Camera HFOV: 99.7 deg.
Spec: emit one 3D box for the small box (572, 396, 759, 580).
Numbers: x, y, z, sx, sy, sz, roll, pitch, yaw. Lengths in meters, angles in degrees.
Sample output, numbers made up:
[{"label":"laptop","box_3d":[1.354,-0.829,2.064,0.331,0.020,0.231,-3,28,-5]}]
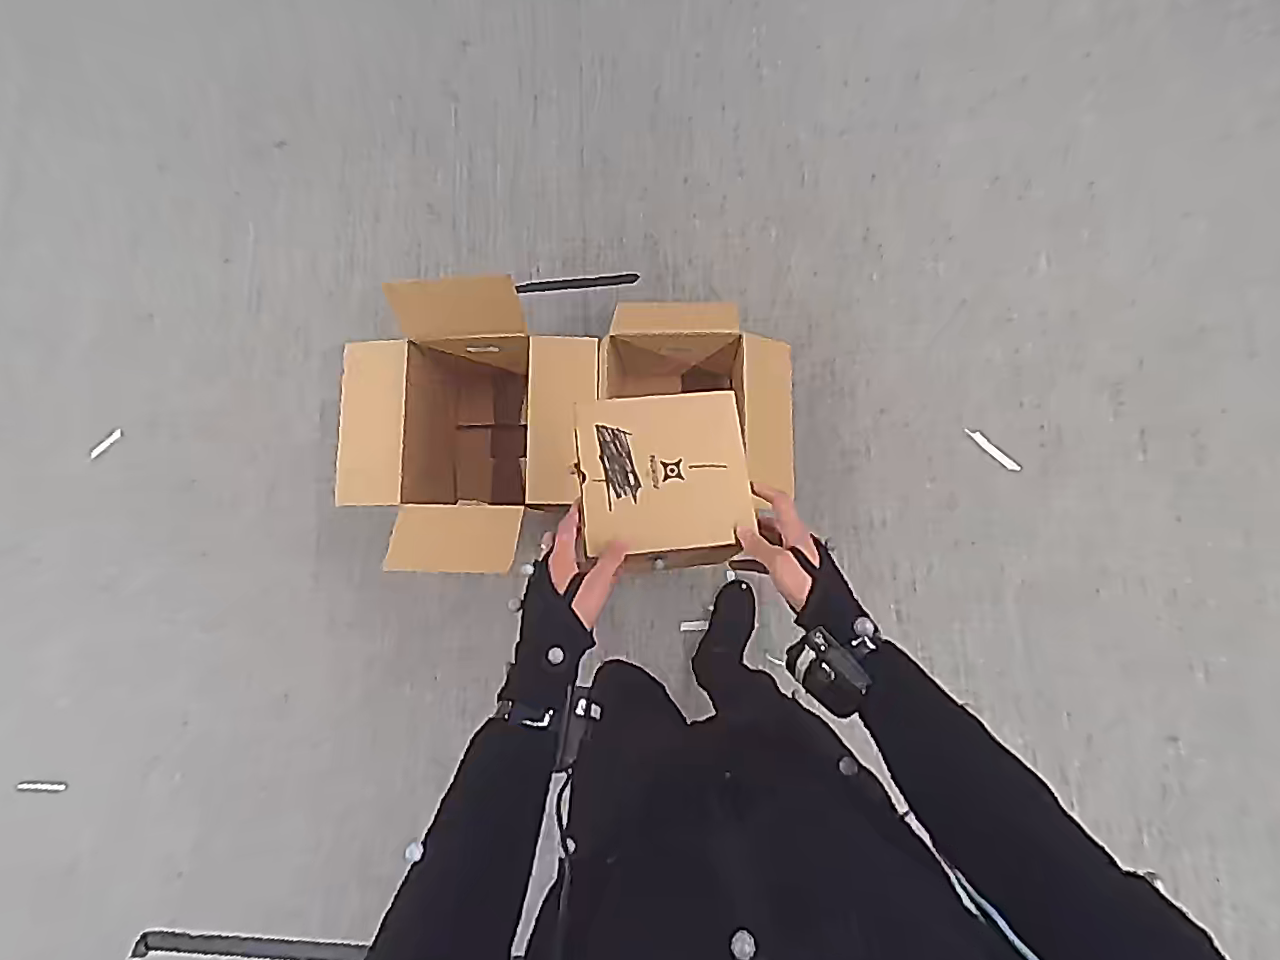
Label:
[{"label":"small box","box_3d":[0.019,0.018,0.623,0.179,0.176,0.168,-5,74,-6]}]
